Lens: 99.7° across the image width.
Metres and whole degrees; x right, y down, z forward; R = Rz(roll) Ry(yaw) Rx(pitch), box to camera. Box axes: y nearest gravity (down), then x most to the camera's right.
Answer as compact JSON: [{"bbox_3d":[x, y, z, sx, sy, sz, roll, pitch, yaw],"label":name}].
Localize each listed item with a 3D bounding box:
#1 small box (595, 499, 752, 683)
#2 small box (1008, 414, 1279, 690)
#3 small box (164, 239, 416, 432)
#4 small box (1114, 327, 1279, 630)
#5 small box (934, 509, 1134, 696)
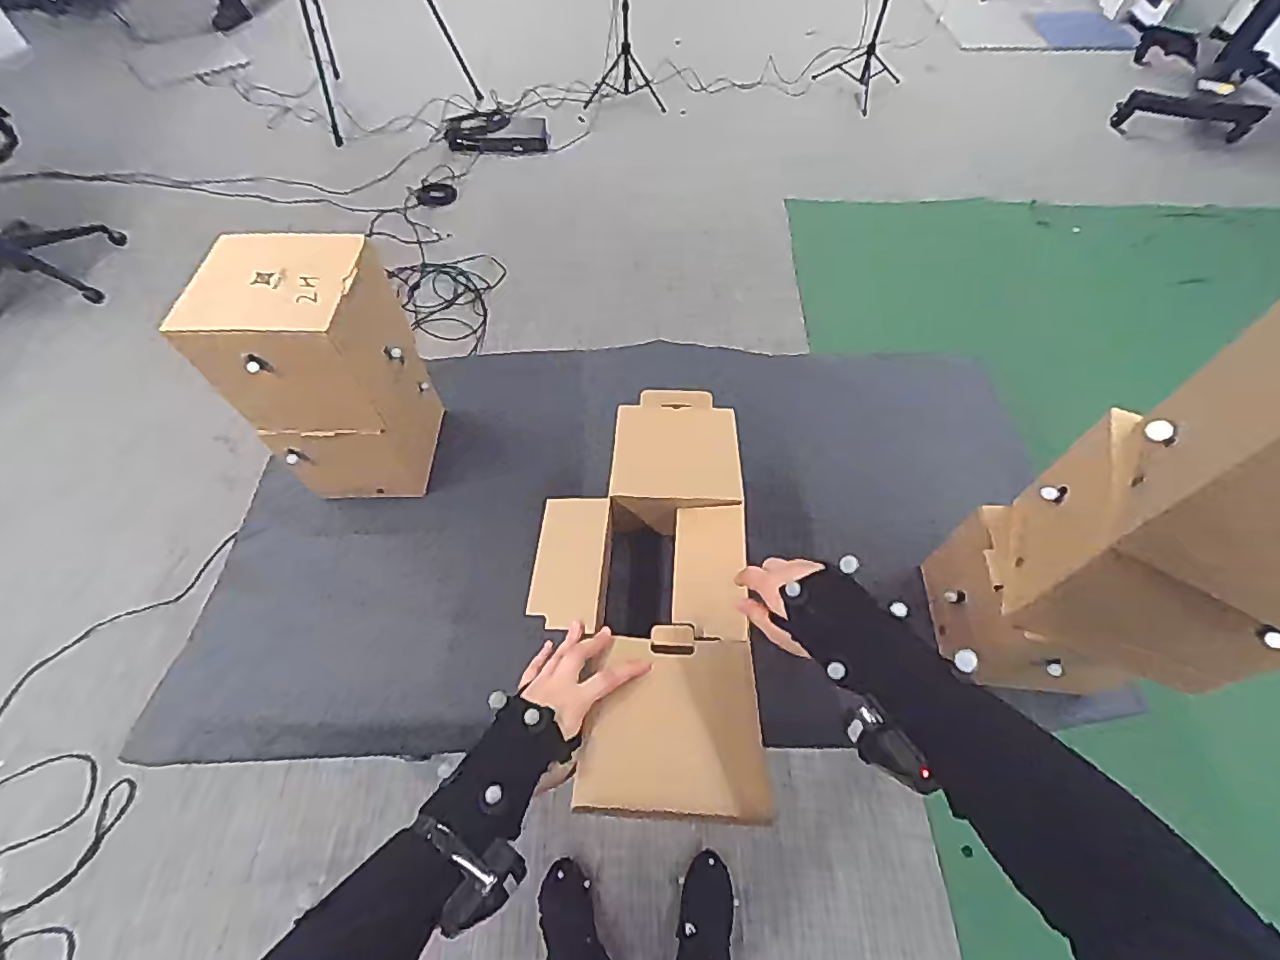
[{"bbox_3d":[0.040,0.142,0.666,0.168,0.176,0.179,2,56,1],"label":"small box"},{"bbox_3d":[0.485,0.073,0.510,0.179,0.176,0.168,23,58,14],"label":"small box"},{"bbox_3d":[-0.404,-0.171,0.665,0.179,0.176,0.168,0,59,-1],"label":"small box"},{"bbox_3d":[0.484,-0.001,0.361,0.179,0.176,0.168,31,60,20],"label":"small box"},{"bbox_3d":[0.483,0.152,0.653,0.179,0.176,0.168,4,55,4],"label":"small box"}]
